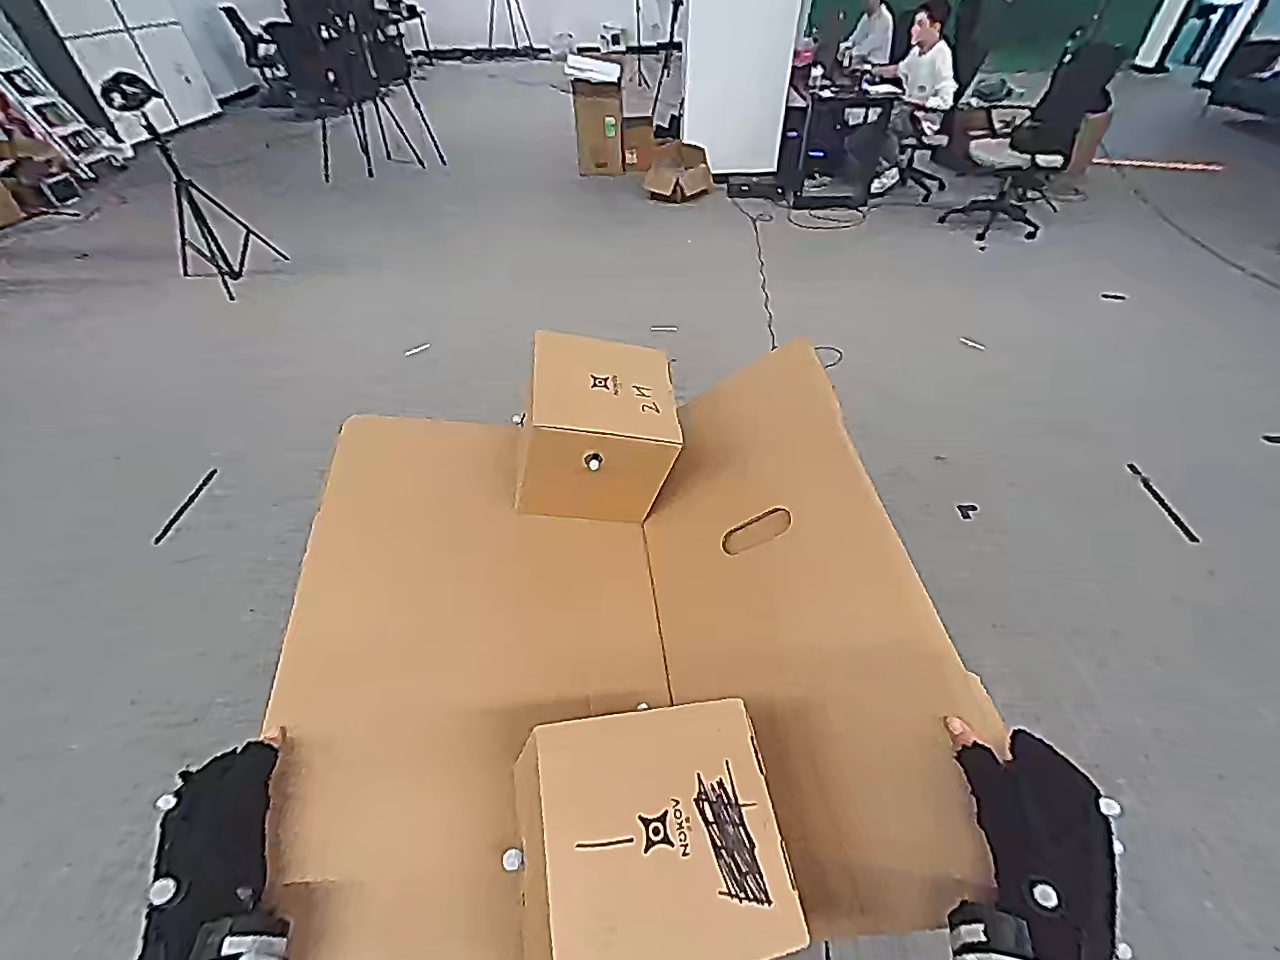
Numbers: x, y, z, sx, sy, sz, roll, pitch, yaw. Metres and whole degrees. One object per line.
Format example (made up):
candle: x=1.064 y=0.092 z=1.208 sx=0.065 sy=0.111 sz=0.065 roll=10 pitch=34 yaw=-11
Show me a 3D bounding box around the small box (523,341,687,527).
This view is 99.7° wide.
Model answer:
small box: x=-0.055 y=-0.053 z=0.709 sx=0.179 sy=0.176 sz=0.168 roll=7 pitch=51 yaw=-15
